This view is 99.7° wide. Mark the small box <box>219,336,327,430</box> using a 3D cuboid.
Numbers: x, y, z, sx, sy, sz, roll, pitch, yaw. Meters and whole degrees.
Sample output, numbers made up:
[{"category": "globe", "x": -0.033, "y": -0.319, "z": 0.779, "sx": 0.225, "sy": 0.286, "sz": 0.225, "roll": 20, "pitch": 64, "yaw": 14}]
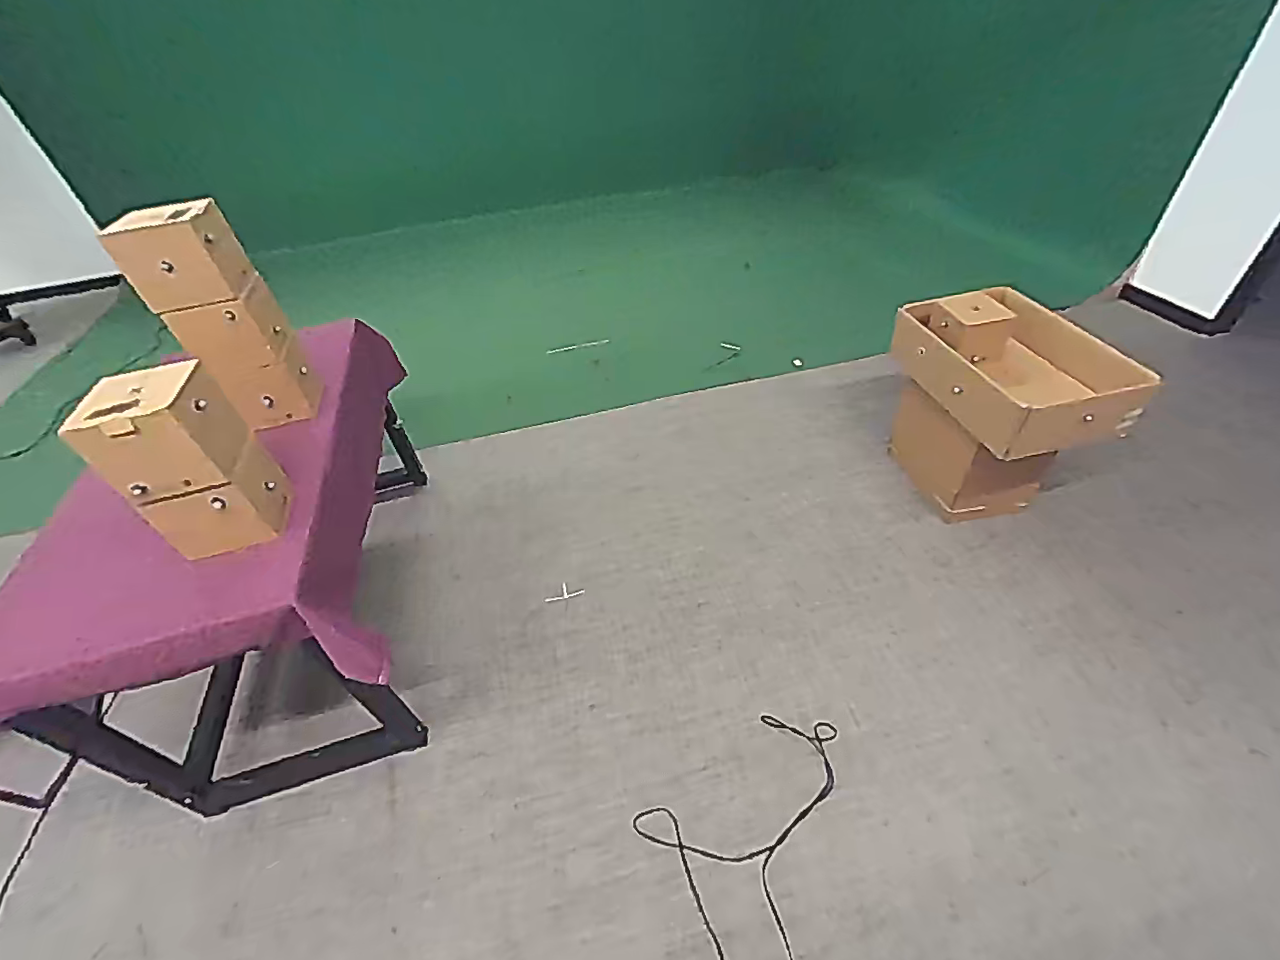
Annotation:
[{"category": "small box", "x": -0.956, "y": -0.250, "z": 1.428, "sx": 0.168, "sy": 0.176, "sz": 0.179, "roll": -16, "pitch": 44, "yaw": -9}]

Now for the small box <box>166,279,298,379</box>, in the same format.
[{"category": "small box", "x": -0.978, "y": -0.364, "z": 1.314, "sx": 0.179, "sy": 0.176, "sz": 0.168, "roll": -14, "pitch": 43, "yaw": -8}]

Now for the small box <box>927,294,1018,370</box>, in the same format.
[{"category": "small box", "x": 1.066, "y": -0.481, "z": 1.754, "sx": 0.168, "sy": 0.176, "sz": 0.179, "roll": -12, "pitch": 42, "yaw": -3}]

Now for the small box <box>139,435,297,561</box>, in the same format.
[{"category": "small box", "x": -0.842, "y": 0.038, "z": 1.105, "sx": 0.179, "sy": 0.176, "sz": 0.168, "roll": -15, "pitch": 43, "yaw": -7}]

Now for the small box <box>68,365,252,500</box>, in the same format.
[{"category": "small box", "x": -0.857, "y": -0.082, "z": 0.992, "sx": 0.168, "sy": 0.176, "sz": 0.179, "roll": -15, "pitch": 43, "yaw": -8}]
